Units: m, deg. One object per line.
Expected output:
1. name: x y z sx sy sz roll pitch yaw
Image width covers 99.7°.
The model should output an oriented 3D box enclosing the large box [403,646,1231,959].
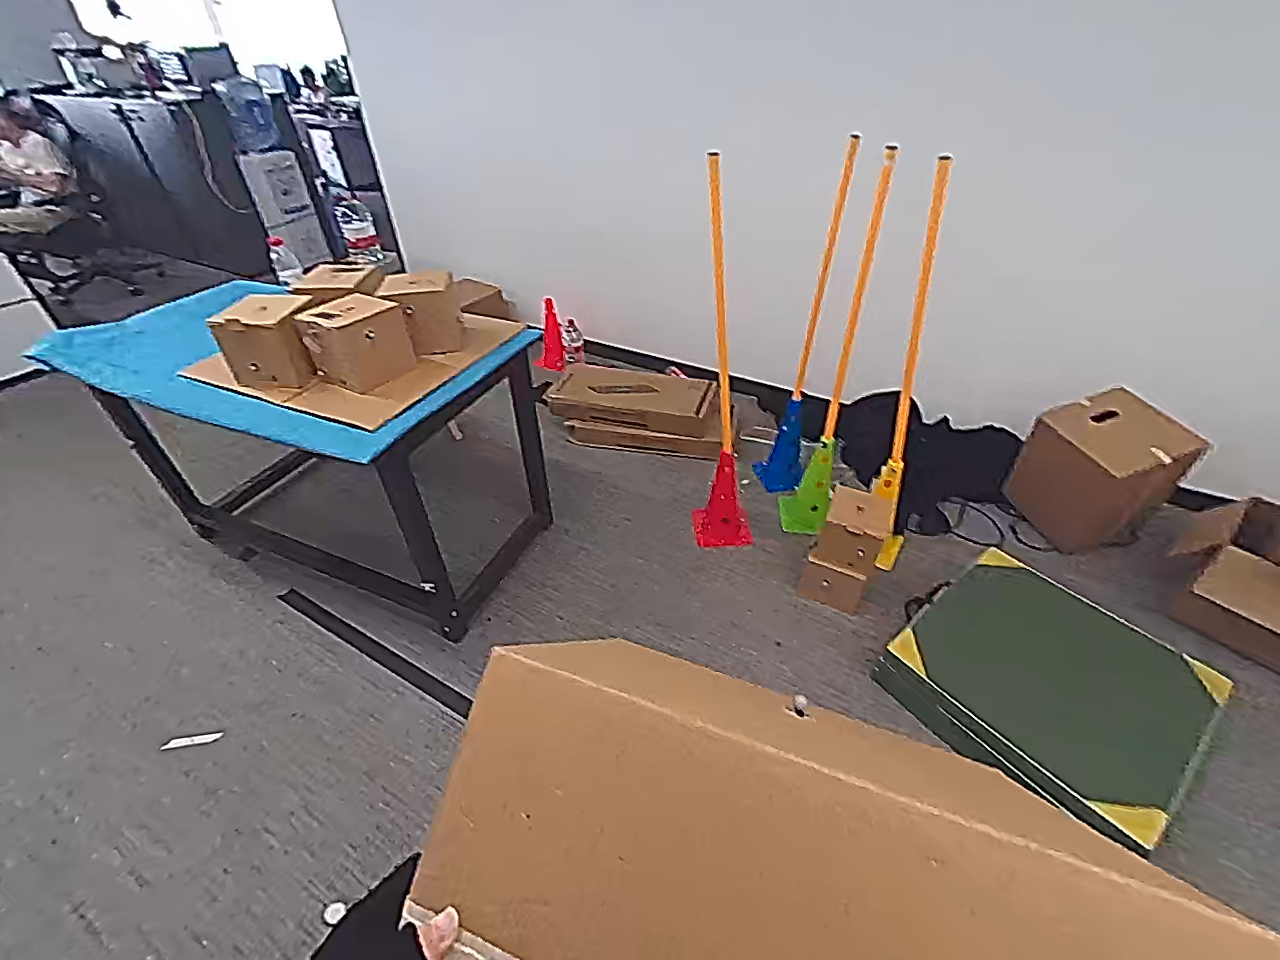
1. large box: 0.084 0.344 0.419 0.408 0.320 0.320 14 79 16
